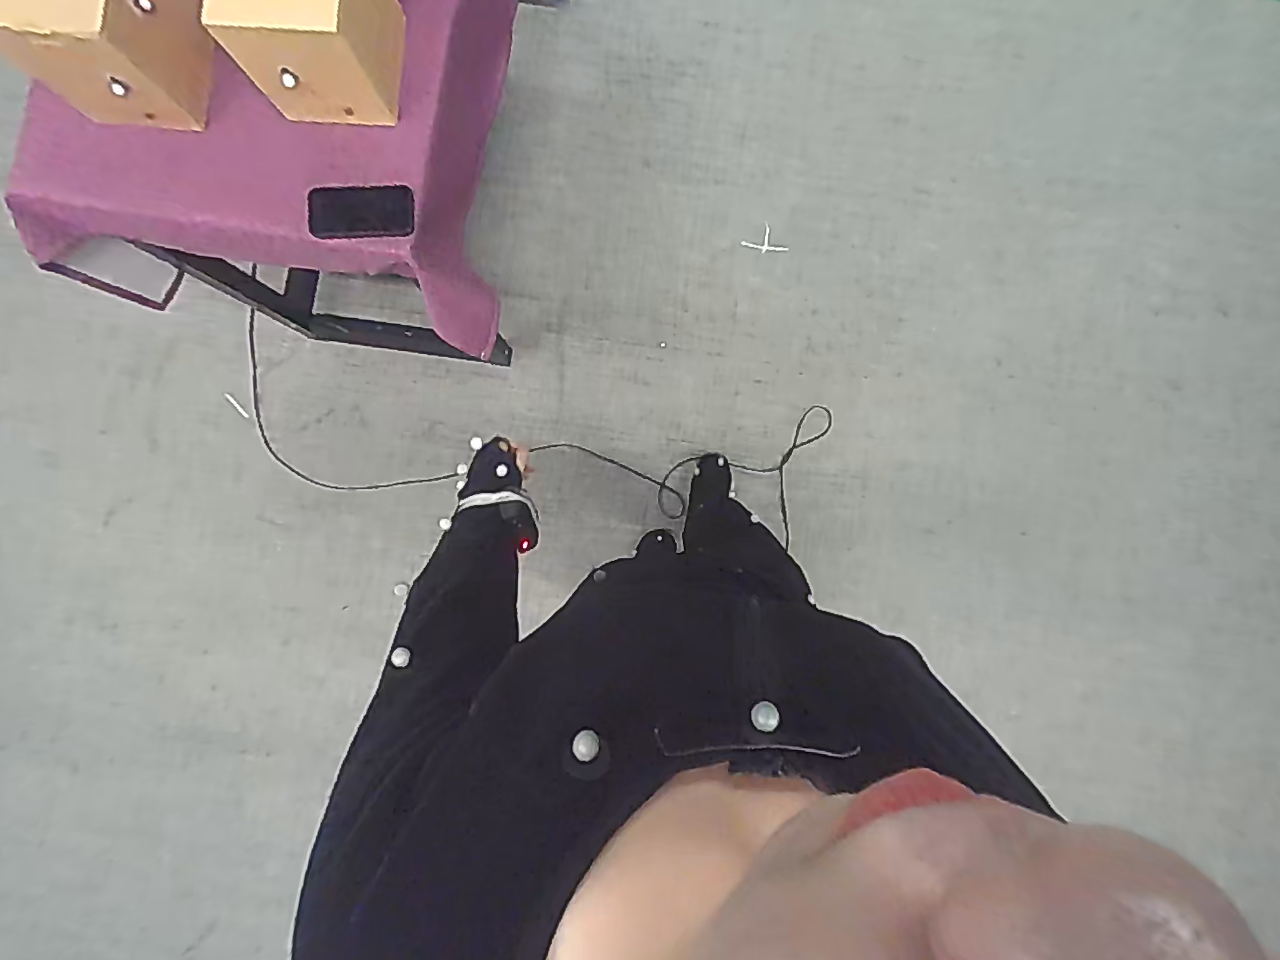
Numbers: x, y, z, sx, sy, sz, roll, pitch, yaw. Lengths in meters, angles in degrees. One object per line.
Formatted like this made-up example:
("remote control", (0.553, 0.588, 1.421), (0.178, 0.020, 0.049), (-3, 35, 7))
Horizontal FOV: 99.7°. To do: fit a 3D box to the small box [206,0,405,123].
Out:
("small box", (-0.439, -0.626, 0.736), (0.168, 0.176, 0.179), (3, 86, -1))
